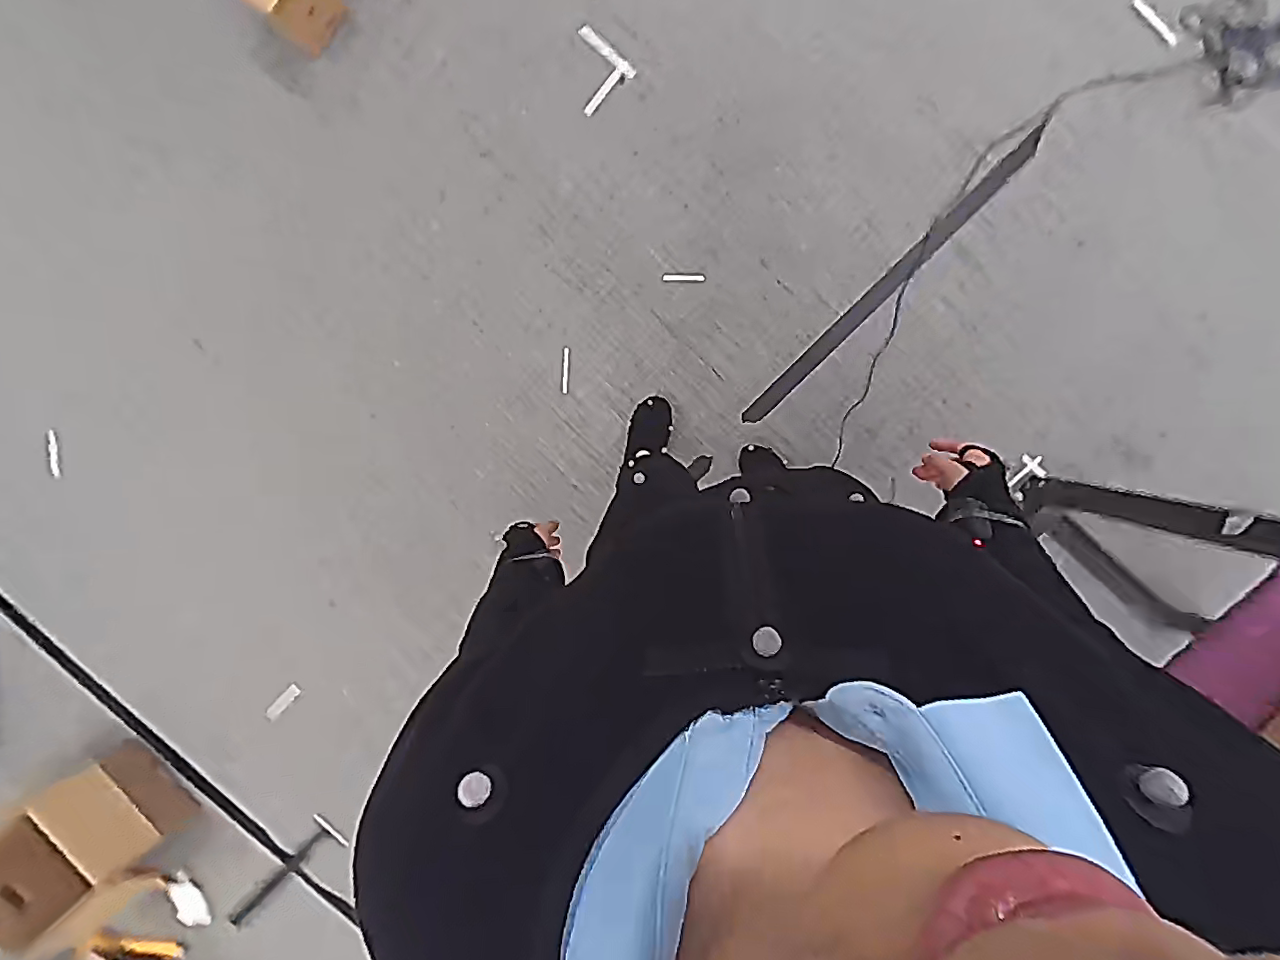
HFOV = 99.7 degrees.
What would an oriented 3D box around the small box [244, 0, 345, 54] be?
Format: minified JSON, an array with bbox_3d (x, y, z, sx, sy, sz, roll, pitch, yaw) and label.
[{"bbox_3d":[-0.870,-1.200,1.320,0.179,0.176,0.168,40,99,-1],"label":"small box"}]
